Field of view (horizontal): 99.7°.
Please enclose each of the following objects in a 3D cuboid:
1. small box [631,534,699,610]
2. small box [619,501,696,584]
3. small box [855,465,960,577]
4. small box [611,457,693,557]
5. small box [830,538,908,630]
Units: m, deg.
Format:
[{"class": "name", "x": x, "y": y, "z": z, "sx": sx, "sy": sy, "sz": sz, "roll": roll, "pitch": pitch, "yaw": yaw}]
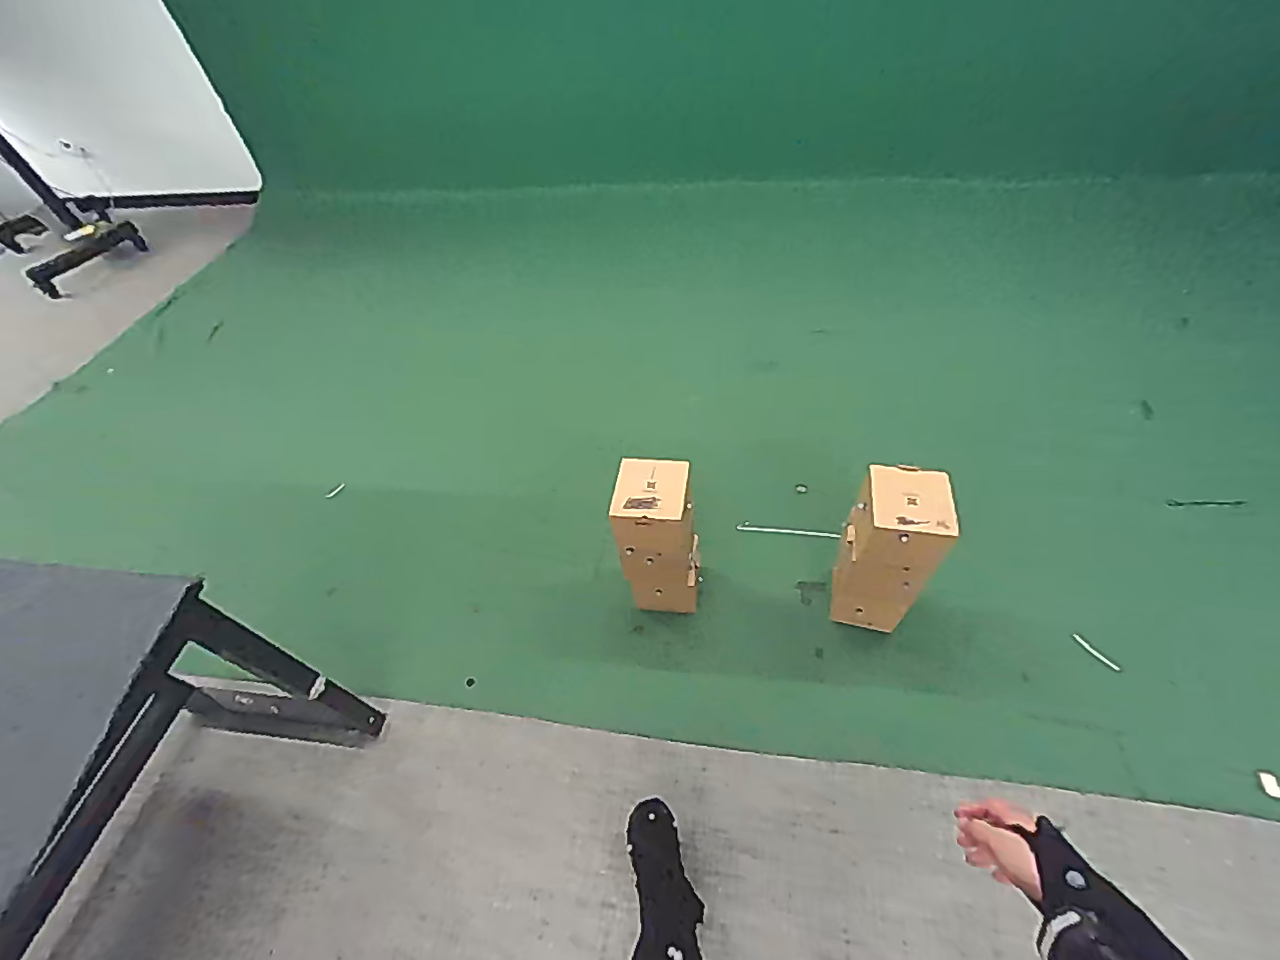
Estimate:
[{"class": "small box", "x": 0.078, "y": 0.262, "z": 1.559, "sx": 0.179, "sy": 0.176, "sz": 0.168, "roll": 3, "pitch": 53, "yaw": 9}, {"class": "small box", "x": 0.052, "y": 0.161, "z": 1.434, "sx": 0.179, "sy": 0.176, "sz": 0.168, "roll": 5, "pitch": 53, "yaw": 10}, {"class": "small box", "x": 0.592, "y": 0.092, "z": 1.222, "sx": 0.168, "sy": 0.176, "sz": 0.179, "roll": 7, "pitch": 52, "yaw": 10}, {"class": "small box", "x": 0.037, "y": 0.068, "z": 1.299, "sx": 0.168, "sy": 0.176, "sz": 0.179, "roll": 4, "pitch": 52, "yaw": 10}, {"class": "small box", "x": 0.626, "y": 0.290, "z": 1.483, "sx": 0.168, "sy": 0.176, "sz": 0.179, "roll": 10, "pitch": 53, "yaw": 13}]
